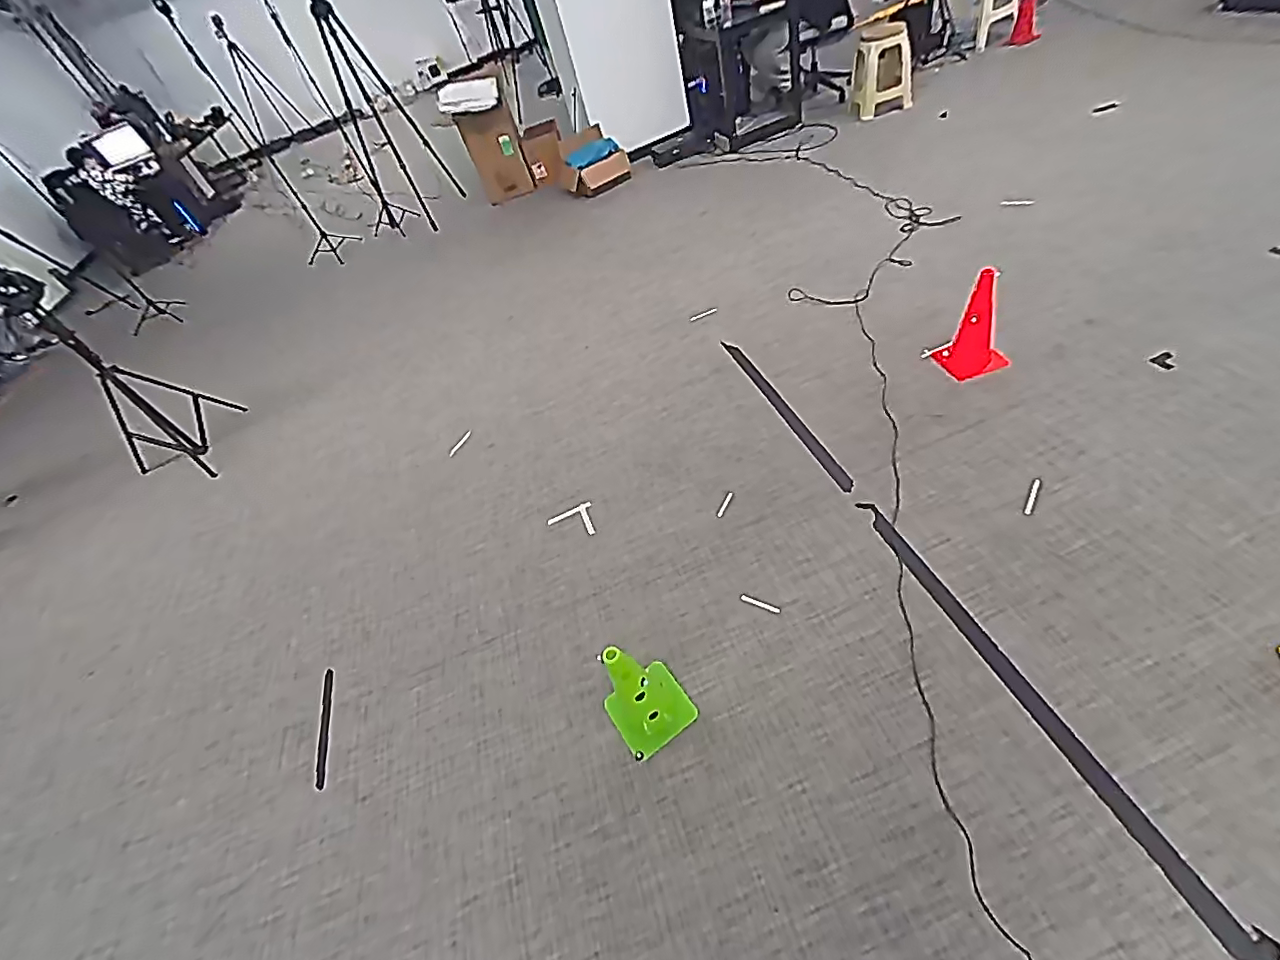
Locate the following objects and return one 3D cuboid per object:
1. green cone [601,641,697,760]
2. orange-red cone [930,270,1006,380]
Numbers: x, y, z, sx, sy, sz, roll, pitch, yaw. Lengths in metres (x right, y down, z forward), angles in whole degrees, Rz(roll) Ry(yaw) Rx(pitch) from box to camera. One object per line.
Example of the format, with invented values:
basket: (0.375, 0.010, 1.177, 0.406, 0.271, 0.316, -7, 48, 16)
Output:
green cone: (-0.017, 0.502, 1.339, 0.200, 0.368, 0.202, -35, 45, -13)
orange-red cone: (1.172, -0.563, 1.889, 0.198, 0.360, 0.199, -19, 46, 4)
